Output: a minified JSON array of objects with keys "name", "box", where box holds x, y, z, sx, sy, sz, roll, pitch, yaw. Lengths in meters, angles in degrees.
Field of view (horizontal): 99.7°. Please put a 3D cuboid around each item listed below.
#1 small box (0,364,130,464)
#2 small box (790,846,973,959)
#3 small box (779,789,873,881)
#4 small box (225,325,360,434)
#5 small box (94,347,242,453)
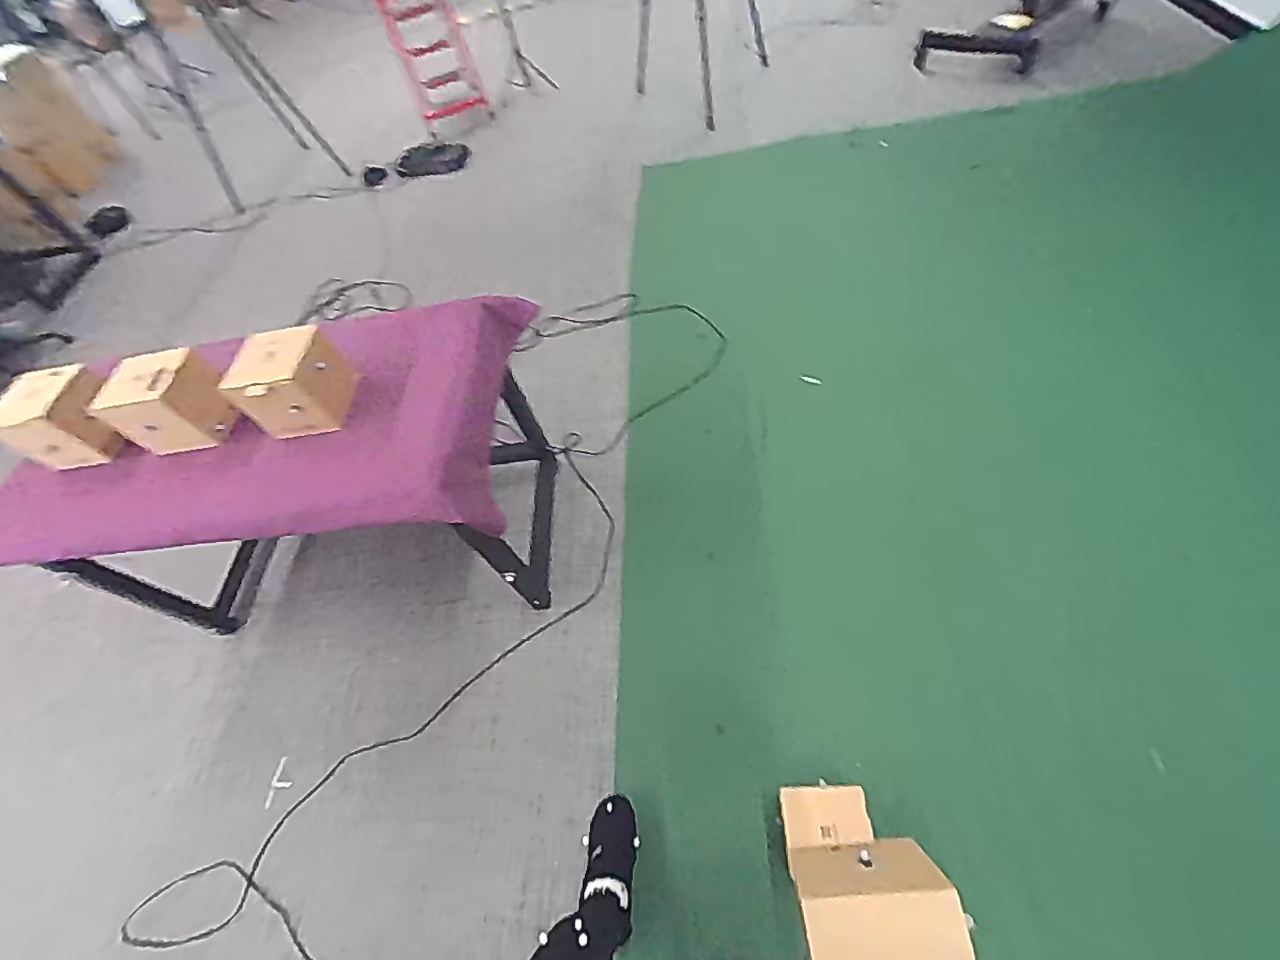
[{"name":"small box","box":[-1.372,-0.152,1.309,0.168,0.176,0.179,-7,56,7]},{"name":"small box","box":[0.275,0.547,0.626,0.168,0.176,0.179,-10,72,8]},{"name":"small box","box":[0.401,0.777,1.178,0.179,0.176,0.168,-6,55,8]},{"name":"small box","box":[-0.770,-0.219,1.223,0.168,0.176,0.179,-6,55,8]},{"name":"small box","box":[-1.085,-0.182,1.267,0.179,0.176,0.168,-7,55,9]}]
